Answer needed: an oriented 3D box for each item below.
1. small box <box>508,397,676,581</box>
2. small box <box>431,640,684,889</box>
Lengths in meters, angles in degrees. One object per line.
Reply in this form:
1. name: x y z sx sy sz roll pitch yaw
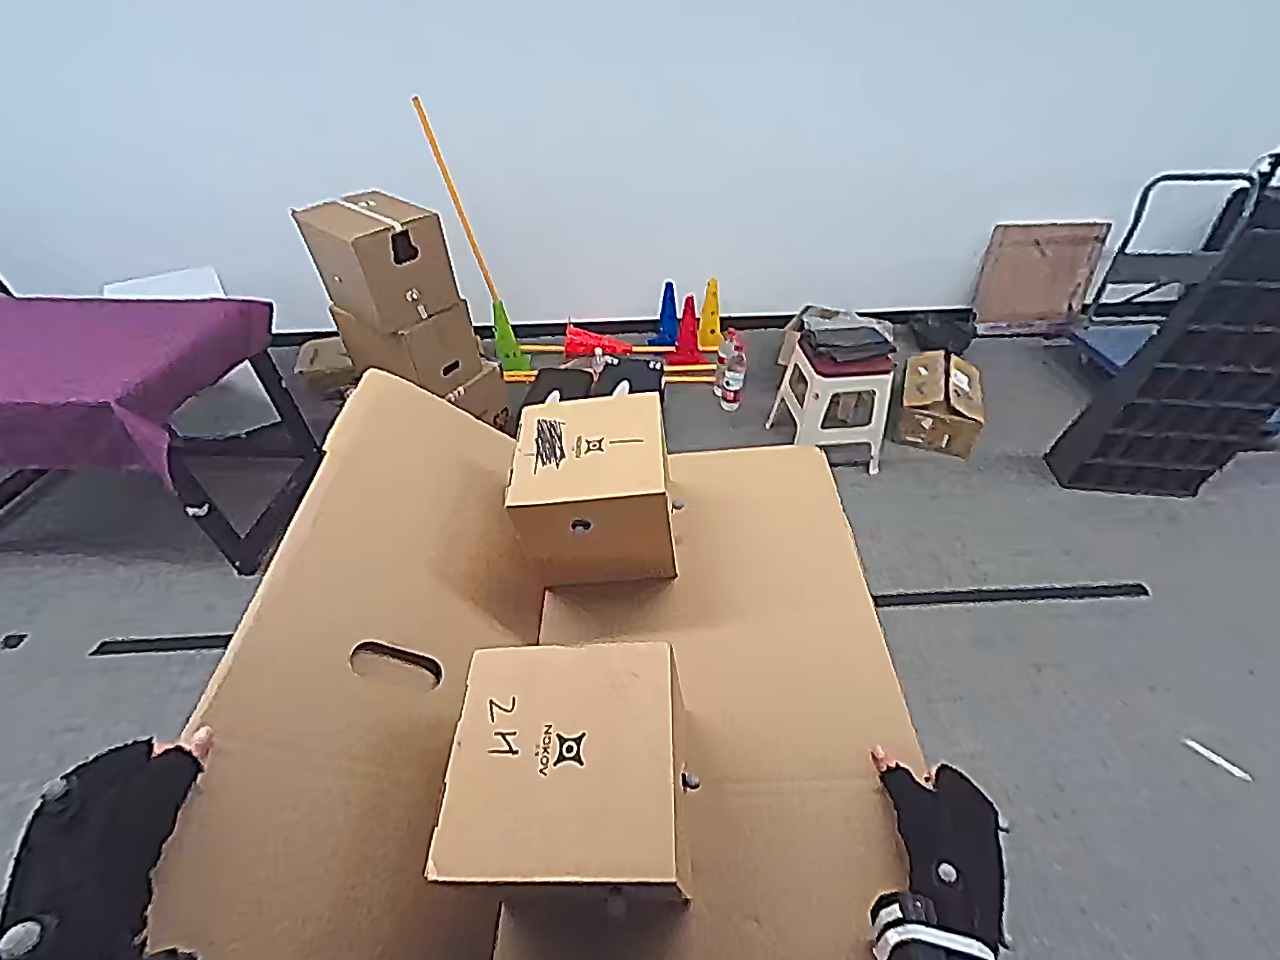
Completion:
1. small box: -0.051 0.017 0.699 0.179 0.176 0.168 -5 48 5
2. small box: -0.051 0.257 0.486 0.179 0.176 0.168 -4 48 7
